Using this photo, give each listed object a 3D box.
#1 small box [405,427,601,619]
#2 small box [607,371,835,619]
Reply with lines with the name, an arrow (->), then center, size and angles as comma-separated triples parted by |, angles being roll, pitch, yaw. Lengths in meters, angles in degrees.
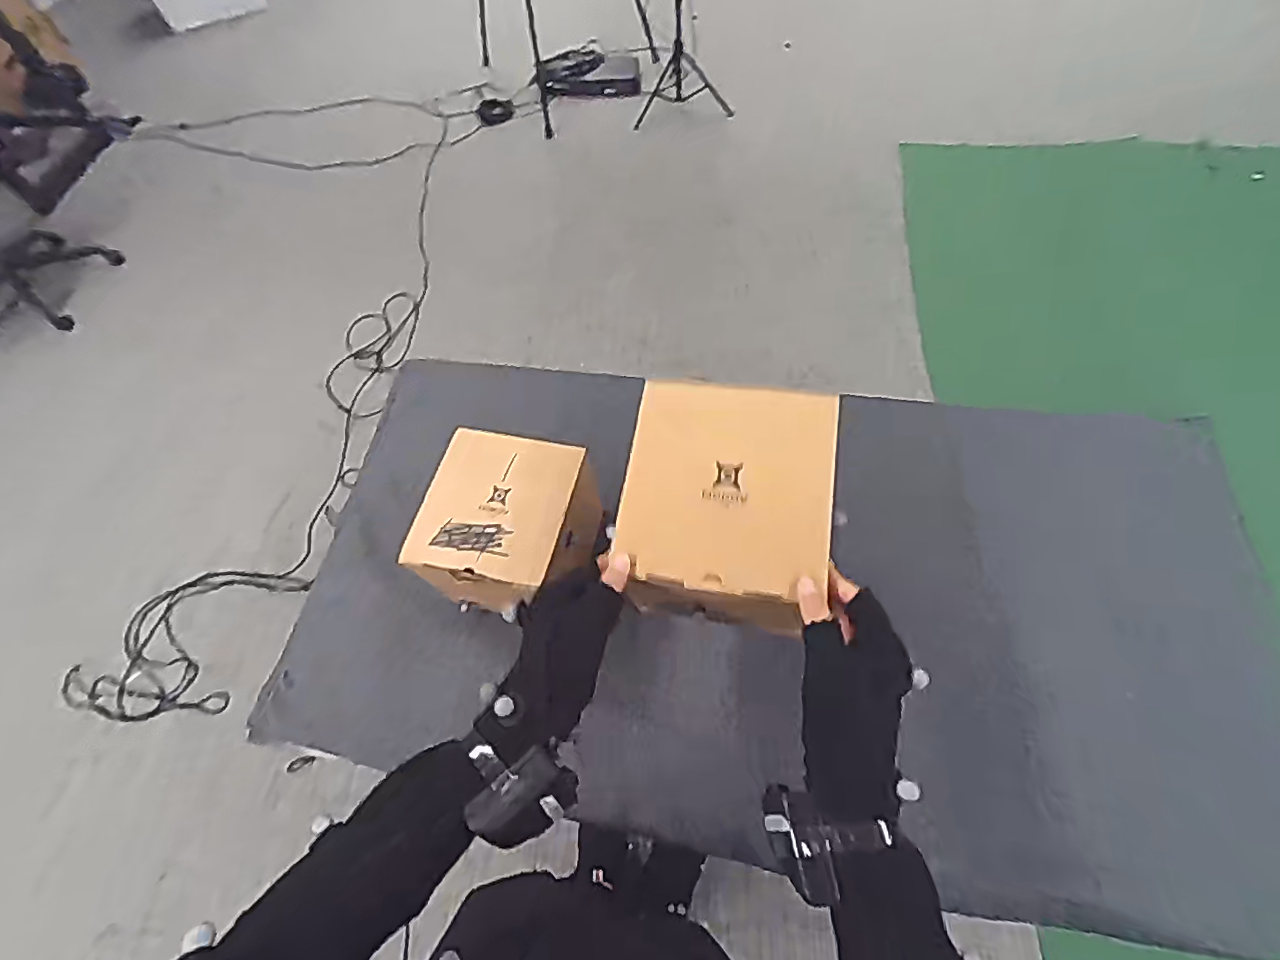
small box -> -0.153, 0.061, 0.681 | 0.168, 0.176, 0.179 | 10, 63, 9
small box -> 0.077, 0.021, 0.501 | 0.168, 0.176, 0.179 | 5, 70, 11
